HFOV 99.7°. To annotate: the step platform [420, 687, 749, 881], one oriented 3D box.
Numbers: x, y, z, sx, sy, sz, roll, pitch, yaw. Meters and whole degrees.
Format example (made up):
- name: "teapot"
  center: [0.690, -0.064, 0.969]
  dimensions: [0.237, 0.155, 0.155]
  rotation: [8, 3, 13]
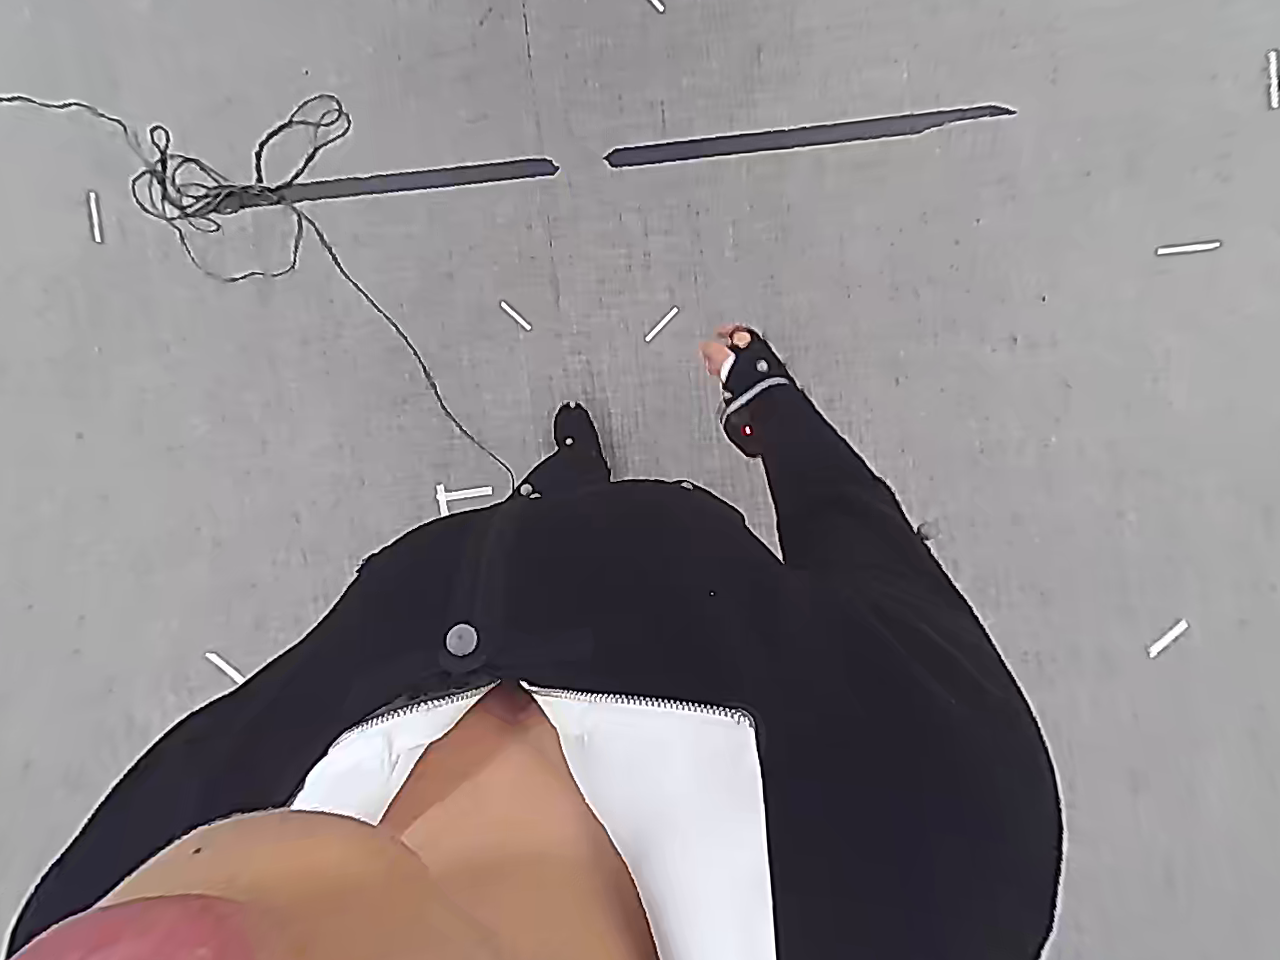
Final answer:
- name: "step platform"
  center: [-0.114, 0.664, 1.212]
  dimensions: [0.684, 0.204, 0.286]
  rotation: [-7, 93, 3]
